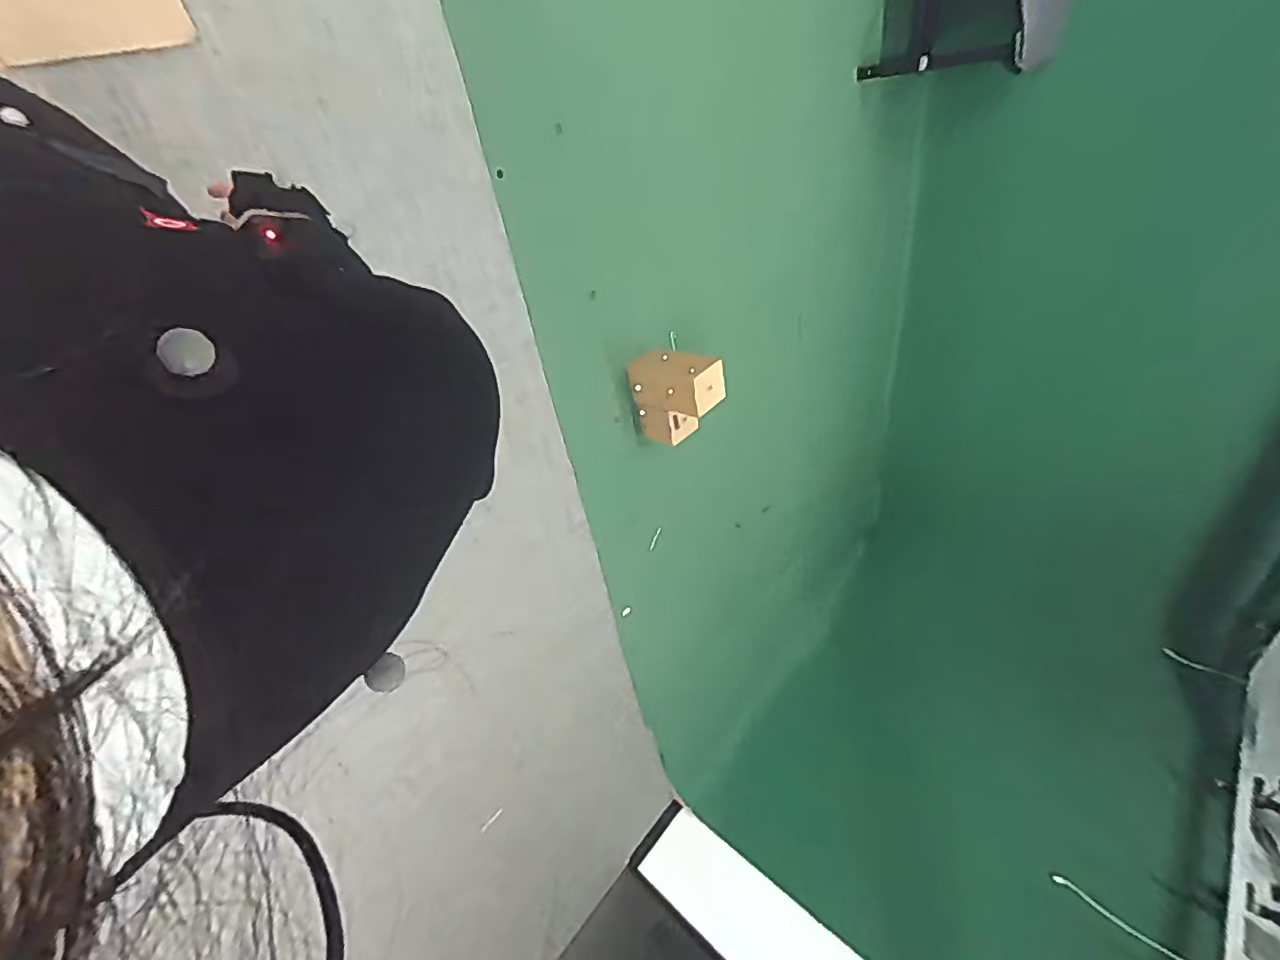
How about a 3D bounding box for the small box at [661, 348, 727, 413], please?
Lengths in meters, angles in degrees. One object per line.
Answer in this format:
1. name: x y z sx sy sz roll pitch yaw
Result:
1. small box: 0.205 -0.383 2.049 0.179 0.176 0.168 -40 134 -30
